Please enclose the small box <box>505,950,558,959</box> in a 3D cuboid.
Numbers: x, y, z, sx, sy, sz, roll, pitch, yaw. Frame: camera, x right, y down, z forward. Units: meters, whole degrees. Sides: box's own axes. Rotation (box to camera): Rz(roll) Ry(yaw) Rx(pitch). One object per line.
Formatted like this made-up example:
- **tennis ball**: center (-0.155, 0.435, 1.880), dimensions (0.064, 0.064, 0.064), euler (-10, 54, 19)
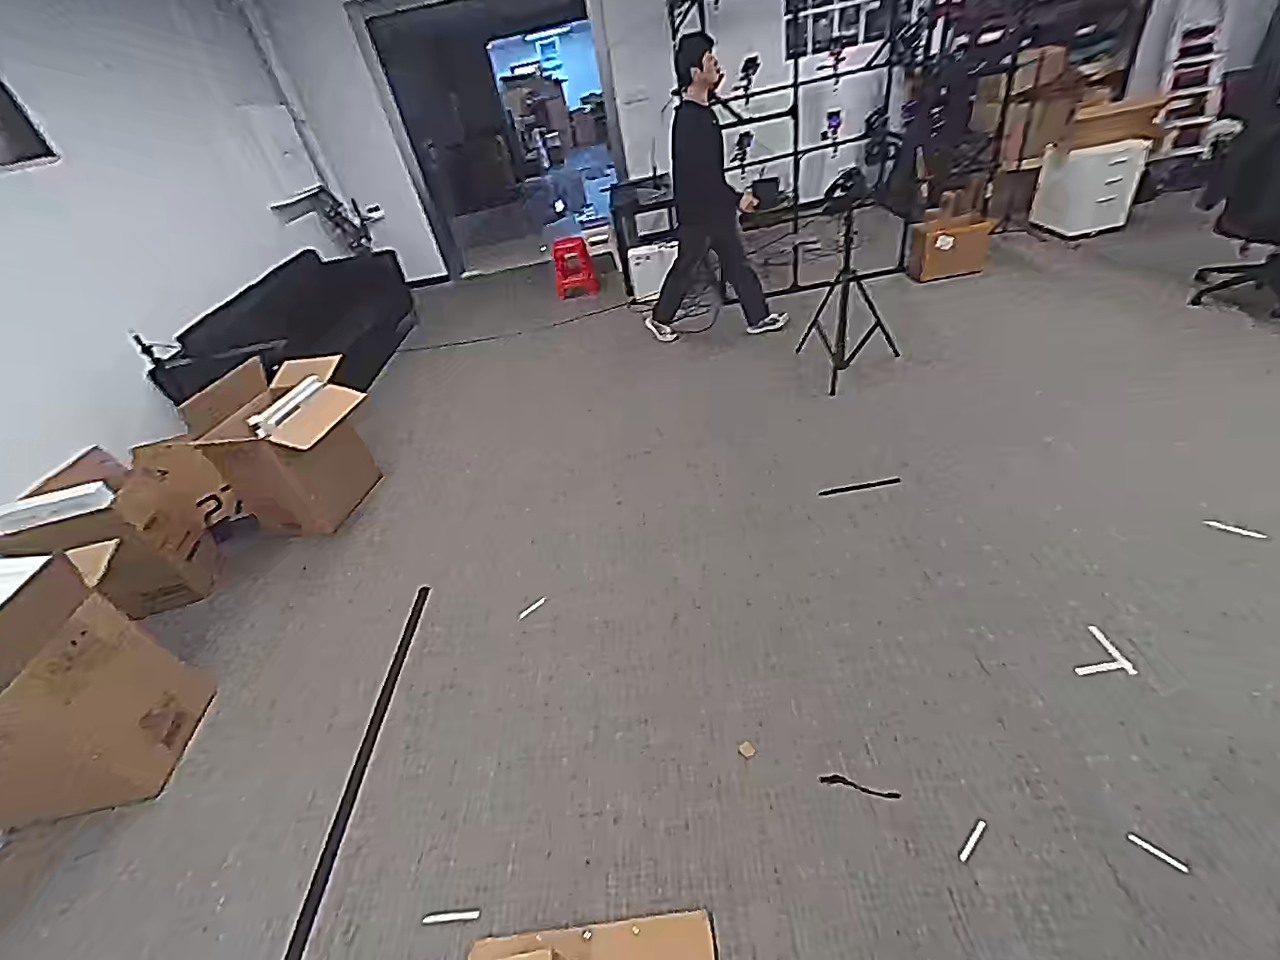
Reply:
- **small box**: center (-0.257, 1.166, 1.175), dimensions (0.179, 0.176, 0.168), euler (-12, 37, 0)
